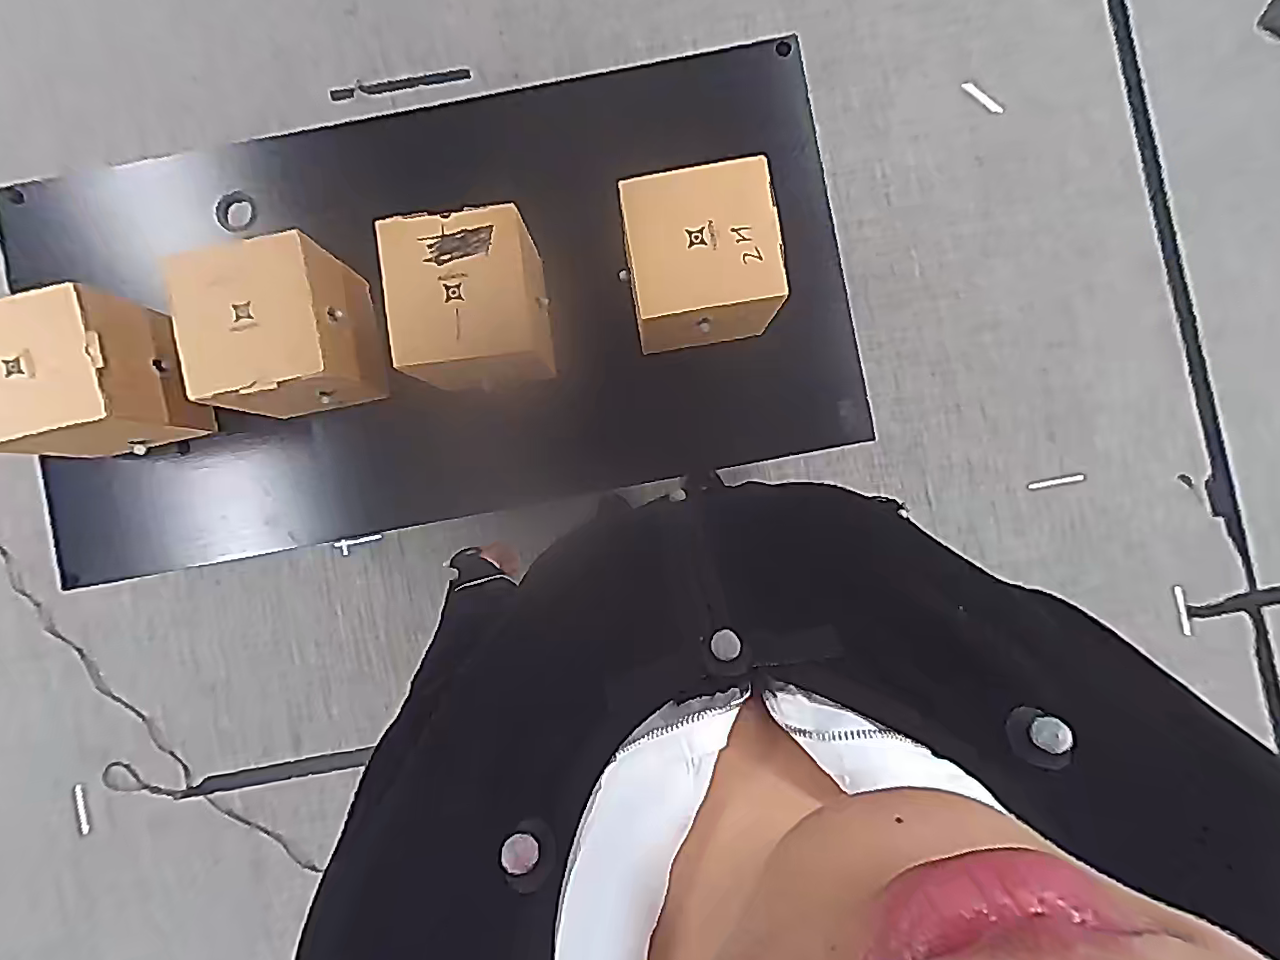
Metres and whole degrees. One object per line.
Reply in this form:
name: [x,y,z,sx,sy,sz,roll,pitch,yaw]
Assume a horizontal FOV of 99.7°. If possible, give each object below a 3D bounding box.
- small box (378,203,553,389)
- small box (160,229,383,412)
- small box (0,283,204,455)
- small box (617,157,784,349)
small box: [-0.215,-0.227,0.705,0.168,0.176,0.179,-7,90,0]
small box: [-0.462,-0.192,0.708,0.168,0.176,0.179,-12,88,-1]
small box: [-0.718,-0.133,0.706,0.179,0.176,0.168,-13,89,-1]
small box: [0.072,-0.279,0.704,0.179,0.176,0.168,-9,90,1]
